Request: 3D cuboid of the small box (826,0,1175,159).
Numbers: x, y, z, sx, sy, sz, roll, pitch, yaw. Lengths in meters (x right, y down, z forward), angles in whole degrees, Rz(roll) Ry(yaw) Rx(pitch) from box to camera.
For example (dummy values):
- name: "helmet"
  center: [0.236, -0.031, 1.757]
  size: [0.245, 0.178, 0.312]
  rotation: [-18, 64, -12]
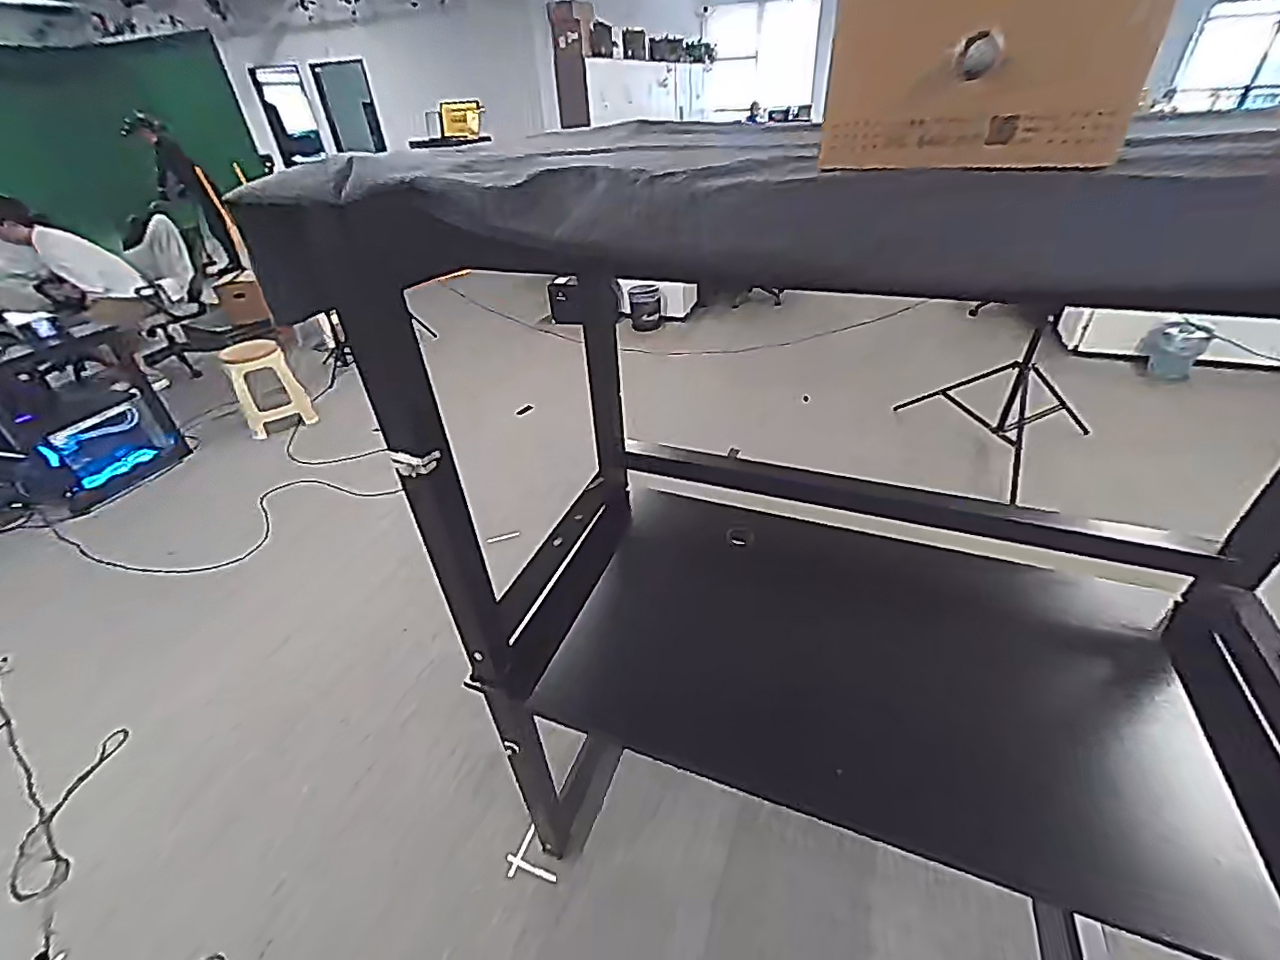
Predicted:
- name: "small box"
  center: [0.224, -0.312, 0.349]
  size: [0.168, 0.176, 0.179]
  rotation: [11, 36, 20]
